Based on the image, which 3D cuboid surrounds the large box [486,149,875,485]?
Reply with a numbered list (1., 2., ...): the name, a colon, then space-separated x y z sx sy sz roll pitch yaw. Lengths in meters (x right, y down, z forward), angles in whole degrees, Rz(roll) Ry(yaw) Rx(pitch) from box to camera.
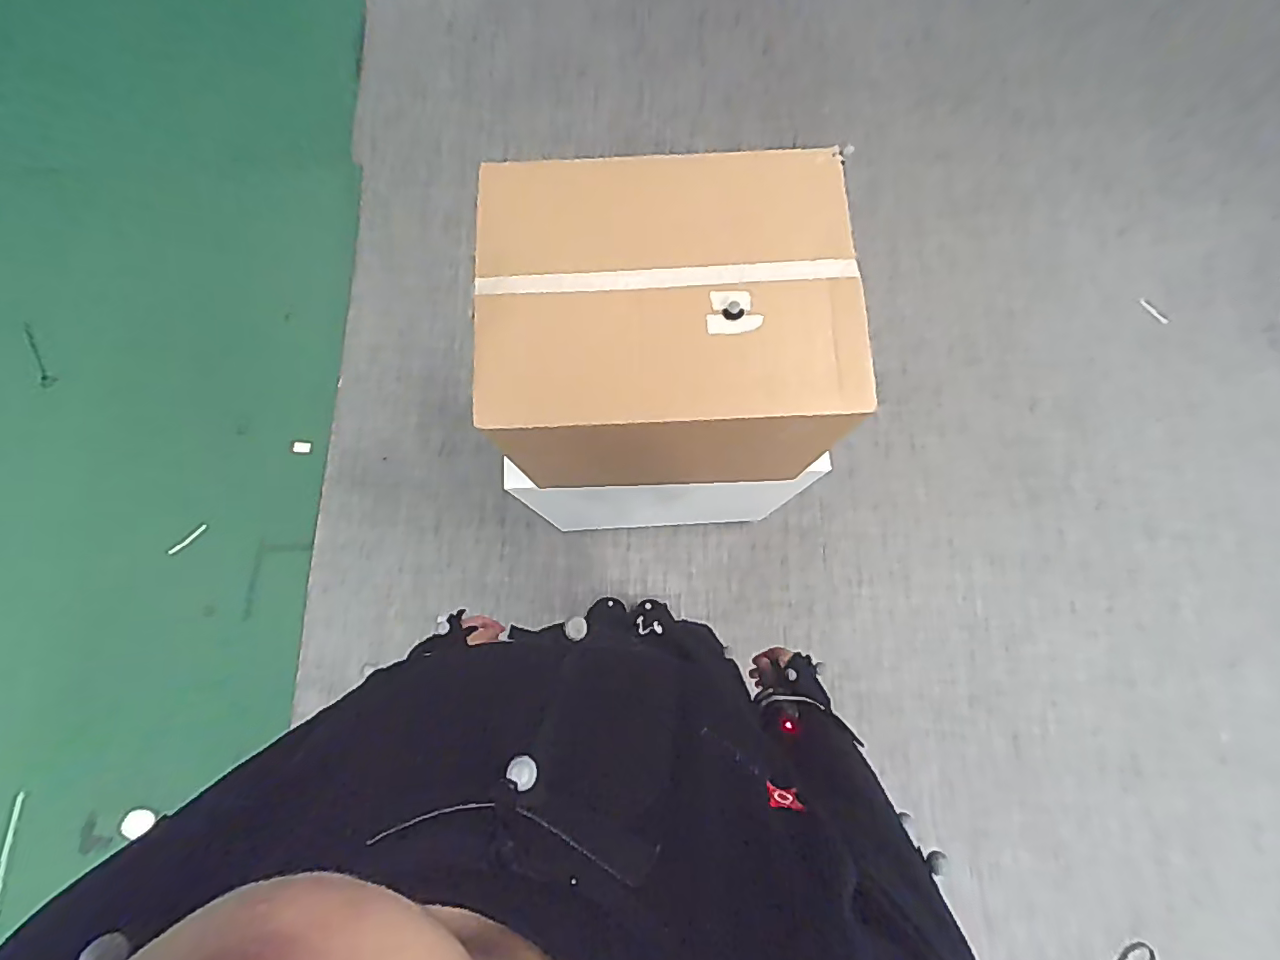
1. large box: 0.032 -0.183 0.722 0.408 0.320 0.320 -3 78 -1
